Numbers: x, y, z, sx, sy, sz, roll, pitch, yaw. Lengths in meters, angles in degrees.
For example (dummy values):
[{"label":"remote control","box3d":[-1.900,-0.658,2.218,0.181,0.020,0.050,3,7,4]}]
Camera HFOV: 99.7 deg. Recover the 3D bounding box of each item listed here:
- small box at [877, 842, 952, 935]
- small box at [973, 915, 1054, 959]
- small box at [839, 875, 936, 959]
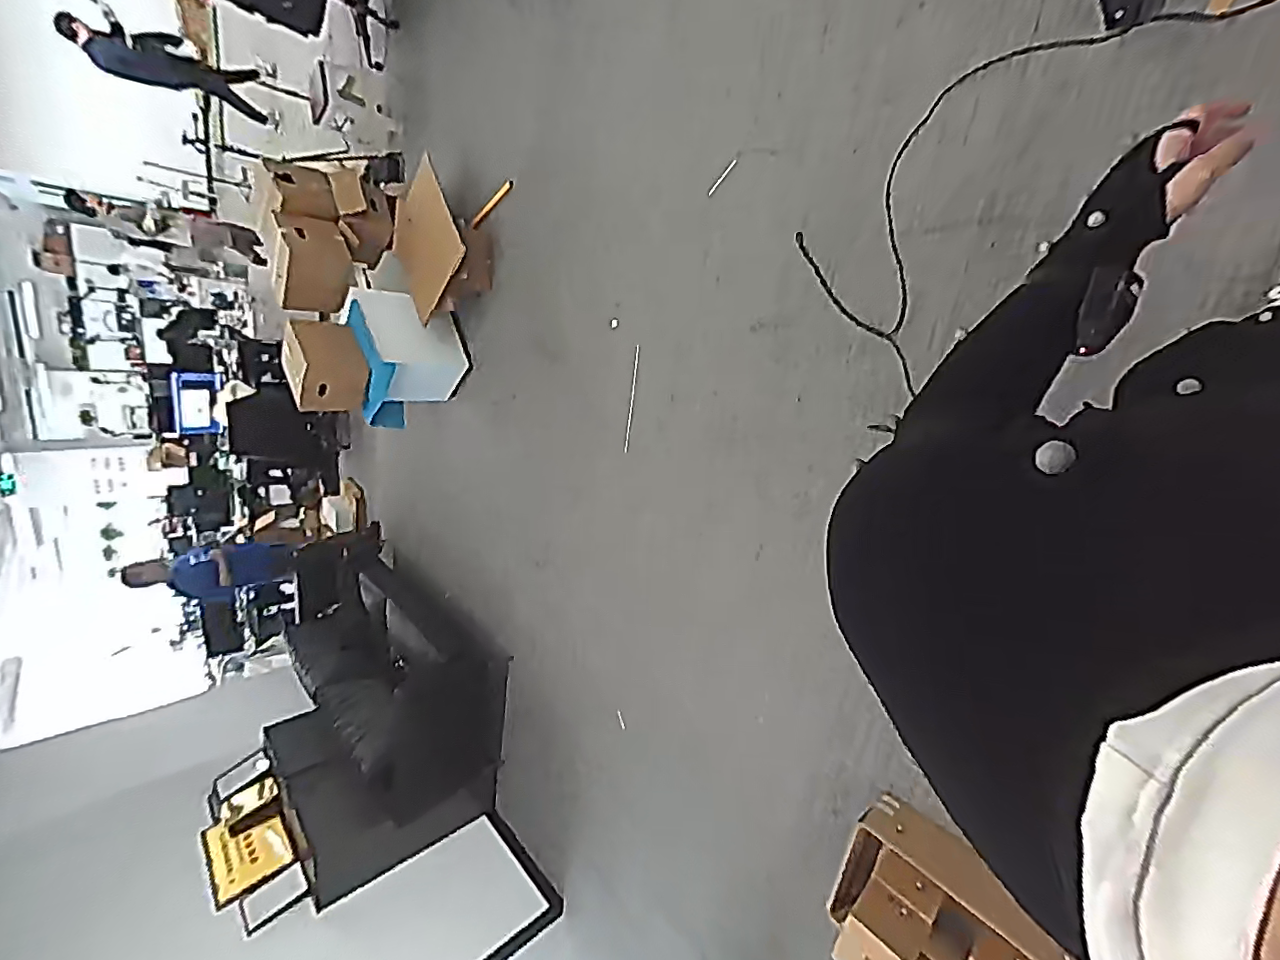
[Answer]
[{"label":"small box","box3d":[0.785,1.215,1.575,0.168,0.176,0.179,23,112,41]},{"label":"small box","box3d":[0.964,1.298,1.401,0.168,0.176,0.179,24,112,43]},{"label":"small box","box3d":[0.671,1.237,1.461,0.168,0.176,0.179,25,113,39]}]
